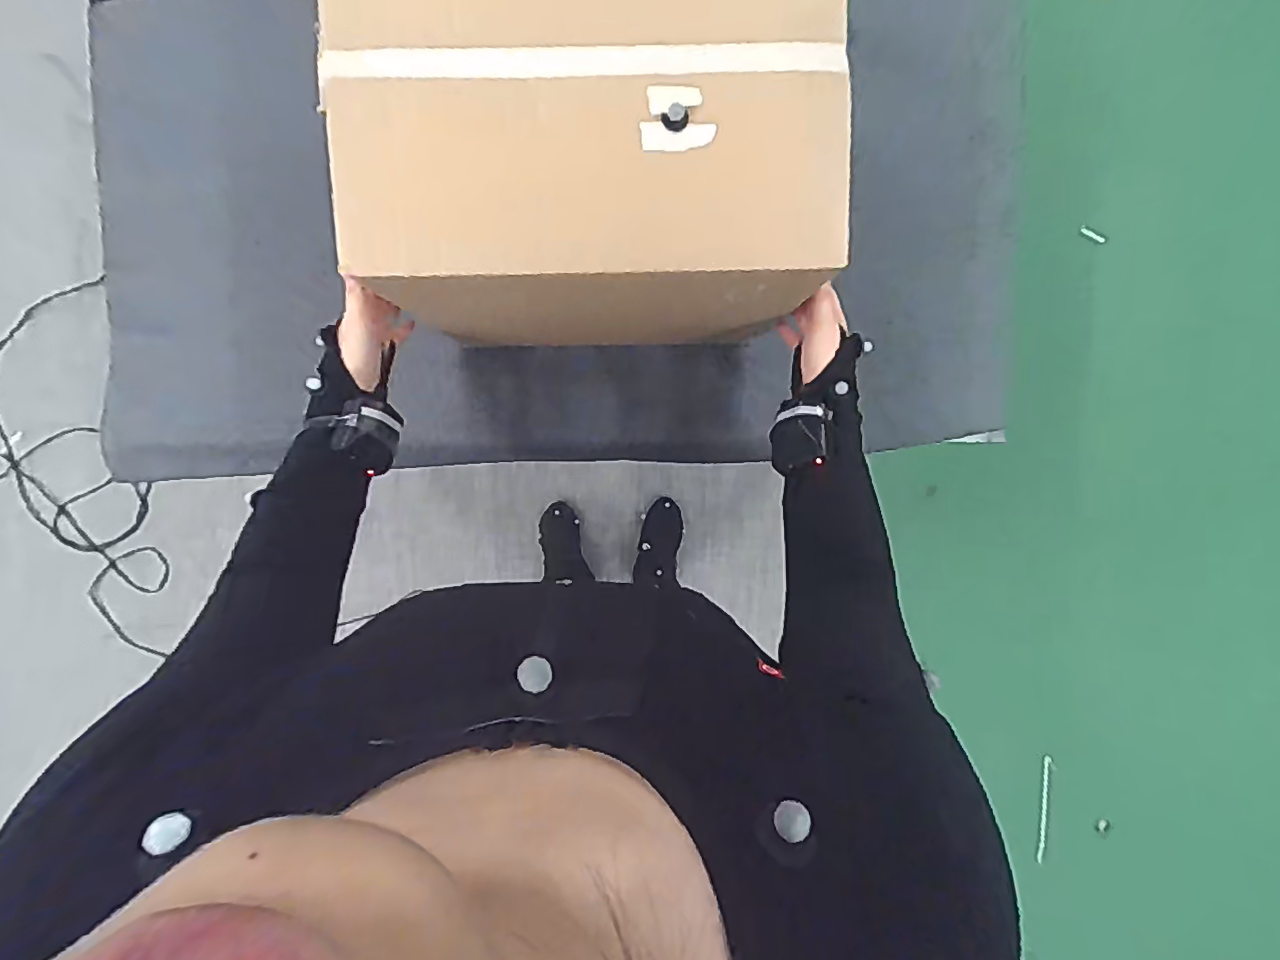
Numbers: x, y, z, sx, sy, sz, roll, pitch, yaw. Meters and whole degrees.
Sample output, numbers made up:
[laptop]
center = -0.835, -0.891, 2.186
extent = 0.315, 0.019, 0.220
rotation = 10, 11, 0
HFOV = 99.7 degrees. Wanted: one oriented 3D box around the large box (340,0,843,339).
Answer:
[large box]
center = -0.042, -0.341, 0.579
extent = 0.408, 0.320, 0.320
rotation = -2, 95, -2
